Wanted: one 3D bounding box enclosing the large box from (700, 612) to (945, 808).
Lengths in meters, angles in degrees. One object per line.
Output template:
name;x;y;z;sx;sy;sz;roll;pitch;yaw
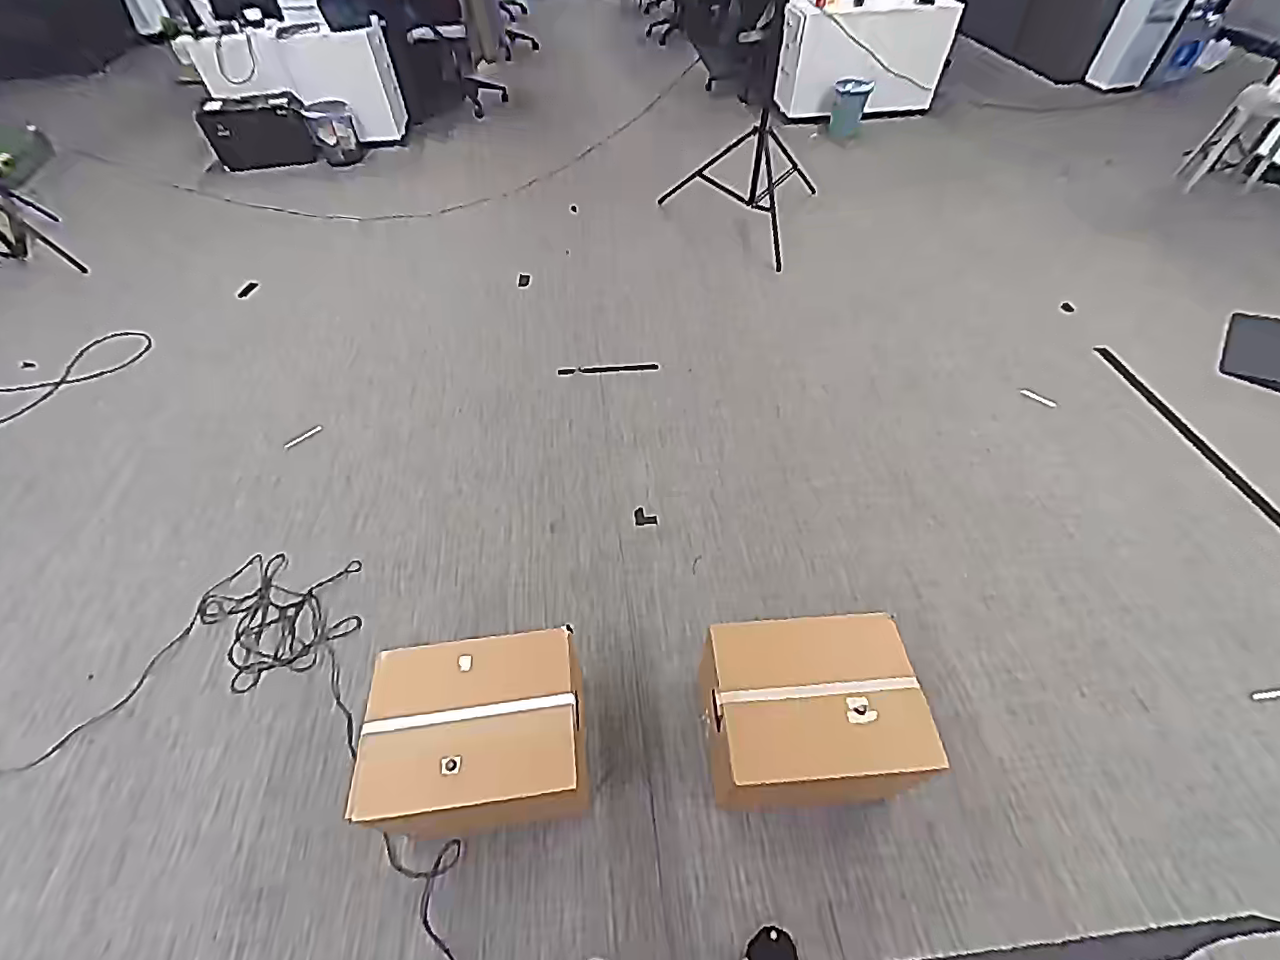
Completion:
large box;0.363;0.518;1.209;0.408;0.320;0.320;-3;52;-2
